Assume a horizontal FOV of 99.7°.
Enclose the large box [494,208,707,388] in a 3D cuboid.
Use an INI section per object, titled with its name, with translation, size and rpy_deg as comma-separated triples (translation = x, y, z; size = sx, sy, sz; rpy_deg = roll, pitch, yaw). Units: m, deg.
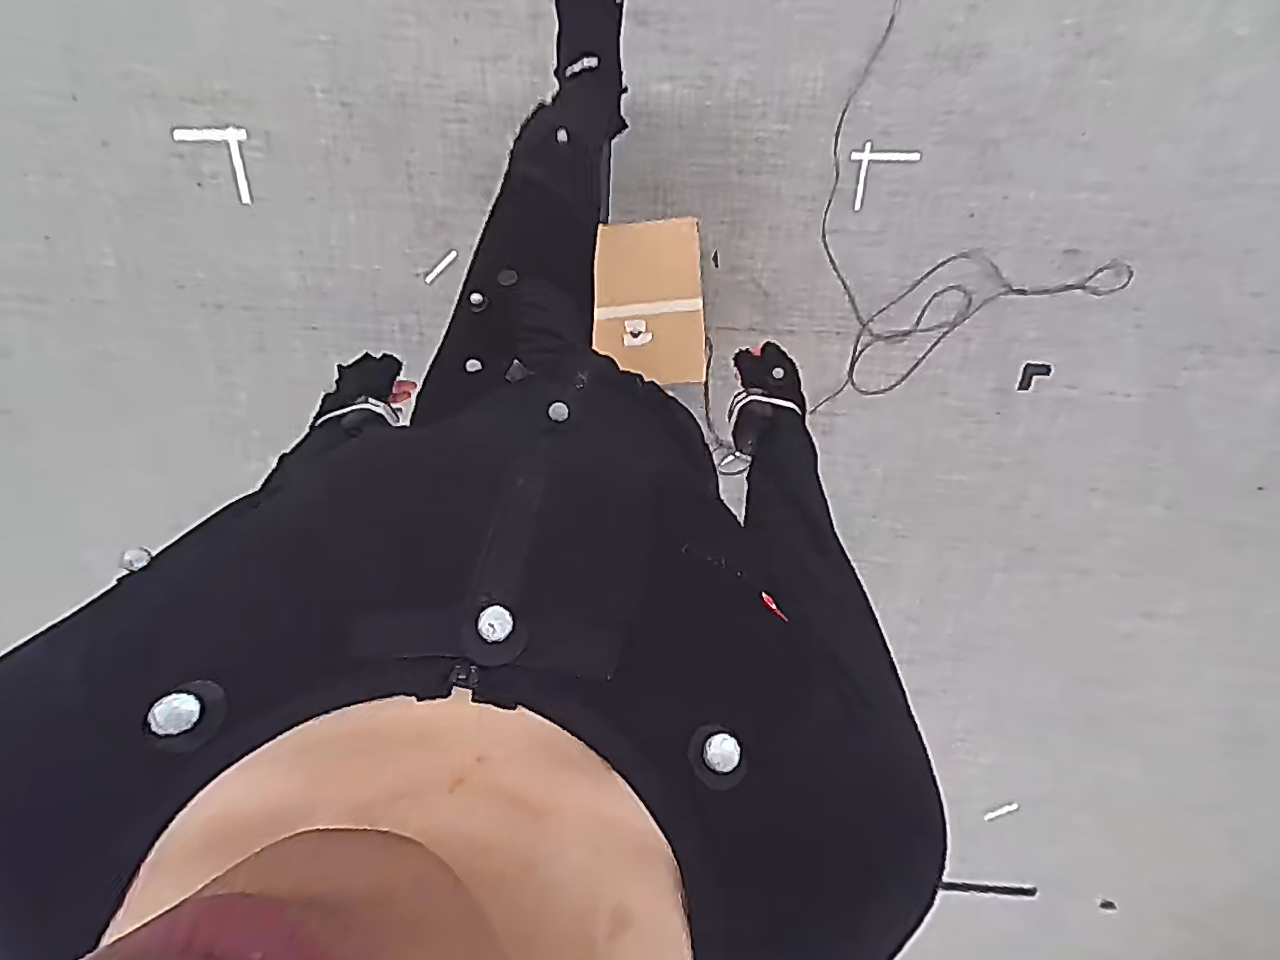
[large box]
translation = -0.069, -0.405, 1.223
size = 0.408, 0.320, 0.320
rpy_deg = -4, 111, 4
